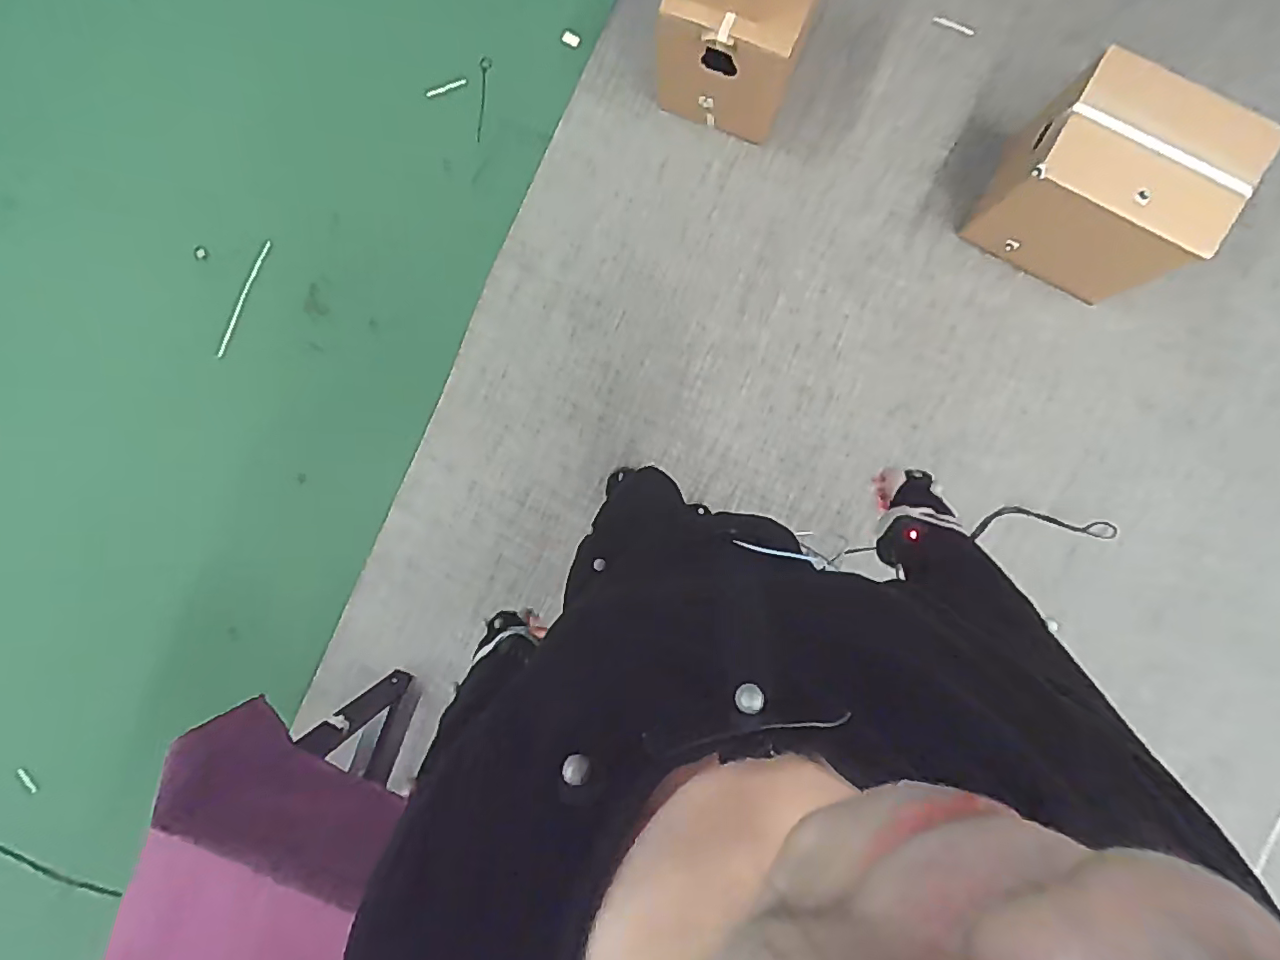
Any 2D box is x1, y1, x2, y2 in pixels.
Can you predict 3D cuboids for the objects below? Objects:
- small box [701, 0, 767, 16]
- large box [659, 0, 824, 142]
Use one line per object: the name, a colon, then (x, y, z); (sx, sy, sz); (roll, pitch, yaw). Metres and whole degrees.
small box: (0.206, -1.097, 1.091); (0.179, 0.176, 0.168); (22, 90, 5)
large box: (0.265, -1.154, 1.333); (0.320, 0.320, 0.408); (23, 90, 3)
